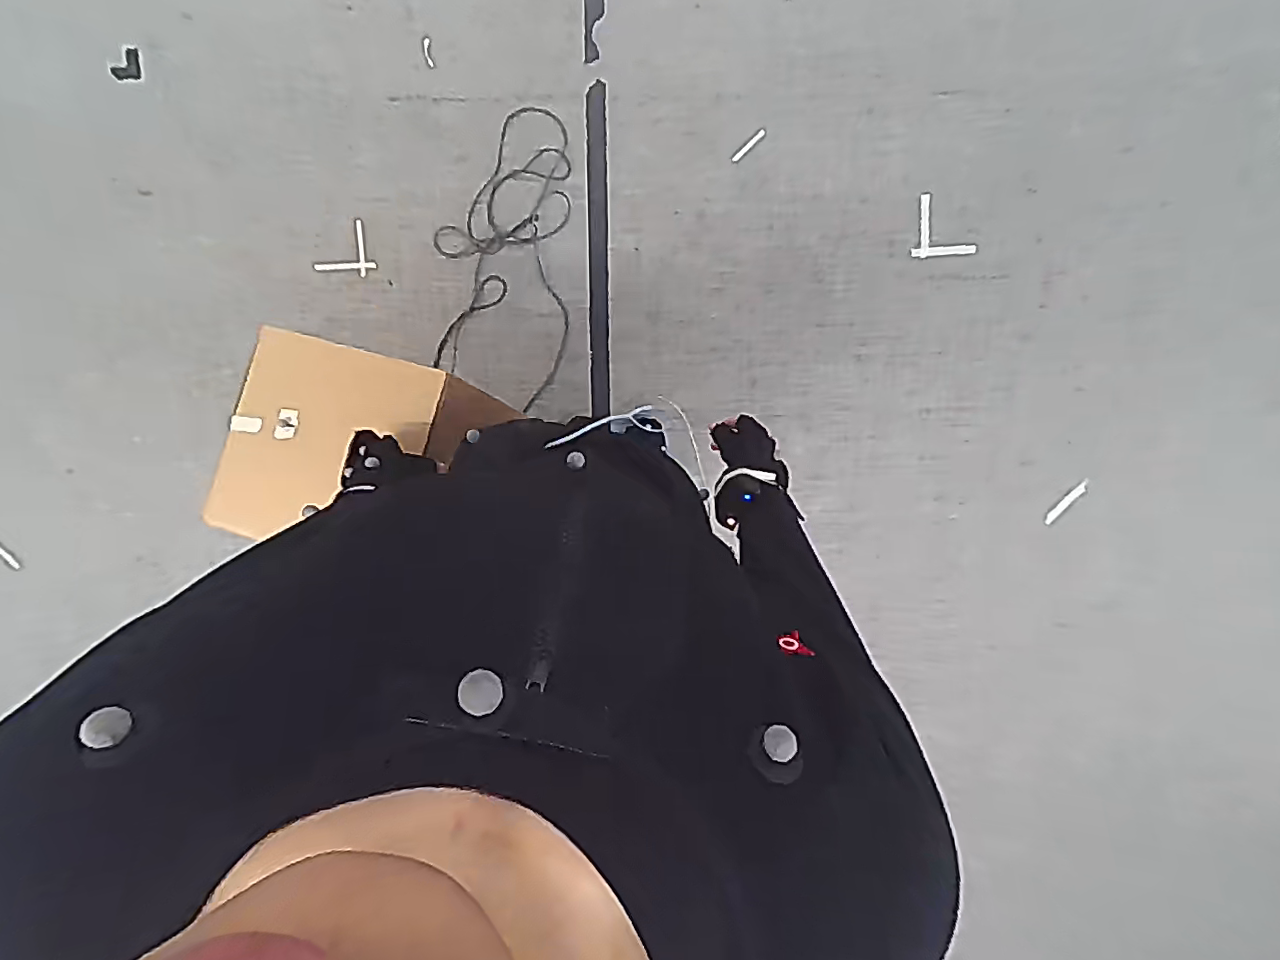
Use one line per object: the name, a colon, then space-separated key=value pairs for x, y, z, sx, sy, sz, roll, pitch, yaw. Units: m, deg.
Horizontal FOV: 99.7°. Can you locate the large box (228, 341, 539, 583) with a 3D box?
large box: x=-0.423 y=-0.027 z=0.986 sx=0.320 sy=0.408 sz=0.320 roll=15 pitch=89 yaw=8
